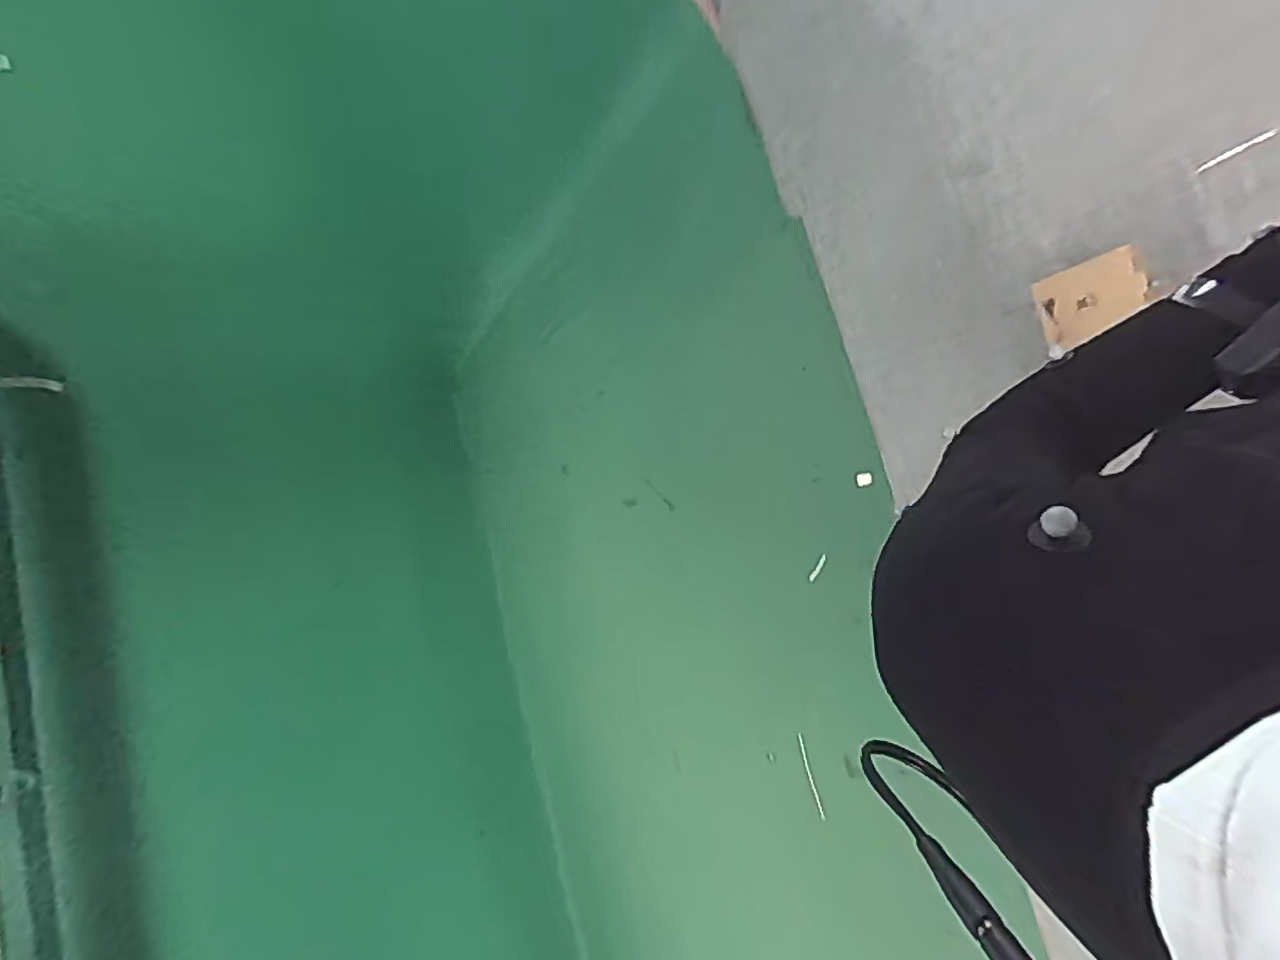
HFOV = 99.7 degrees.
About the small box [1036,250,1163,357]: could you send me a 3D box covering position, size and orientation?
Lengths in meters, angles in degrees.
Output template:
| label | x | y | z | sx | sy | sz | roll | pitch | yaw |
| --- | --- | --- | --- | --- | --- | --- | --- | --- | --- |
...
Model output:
| label | x | y | z | sx | sy | sz | roll | pitch | yaw |
| --- | --- | --- | --- | --- | --- | --- | --- | --- | --- |
| small box | 1.020 | -0.380 | 1.197 | 0.179 | 0.176 | 0.168 | -19 | 82 | 49 |
